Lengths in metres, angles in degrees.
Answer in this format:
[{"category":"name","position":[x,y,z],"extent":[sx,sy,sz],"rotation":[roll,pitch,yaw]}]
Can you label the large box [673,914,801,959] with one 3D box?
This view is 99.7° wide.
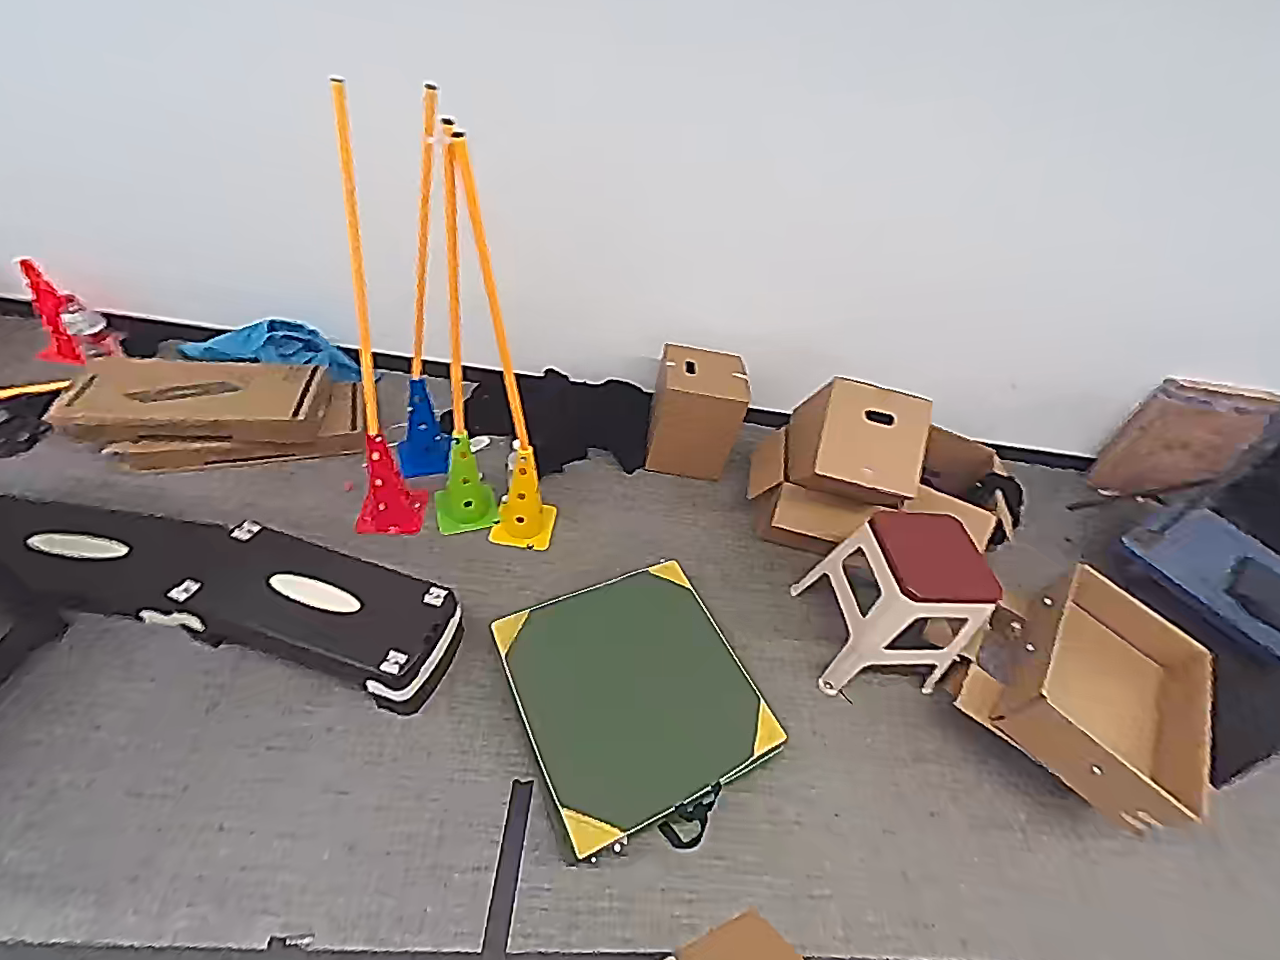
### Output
[{"category":"large box","position":[0.149,0.832,0.621],"extent":[0.320,0.408,0.320],"rotation":[-15,82,-20]}]
